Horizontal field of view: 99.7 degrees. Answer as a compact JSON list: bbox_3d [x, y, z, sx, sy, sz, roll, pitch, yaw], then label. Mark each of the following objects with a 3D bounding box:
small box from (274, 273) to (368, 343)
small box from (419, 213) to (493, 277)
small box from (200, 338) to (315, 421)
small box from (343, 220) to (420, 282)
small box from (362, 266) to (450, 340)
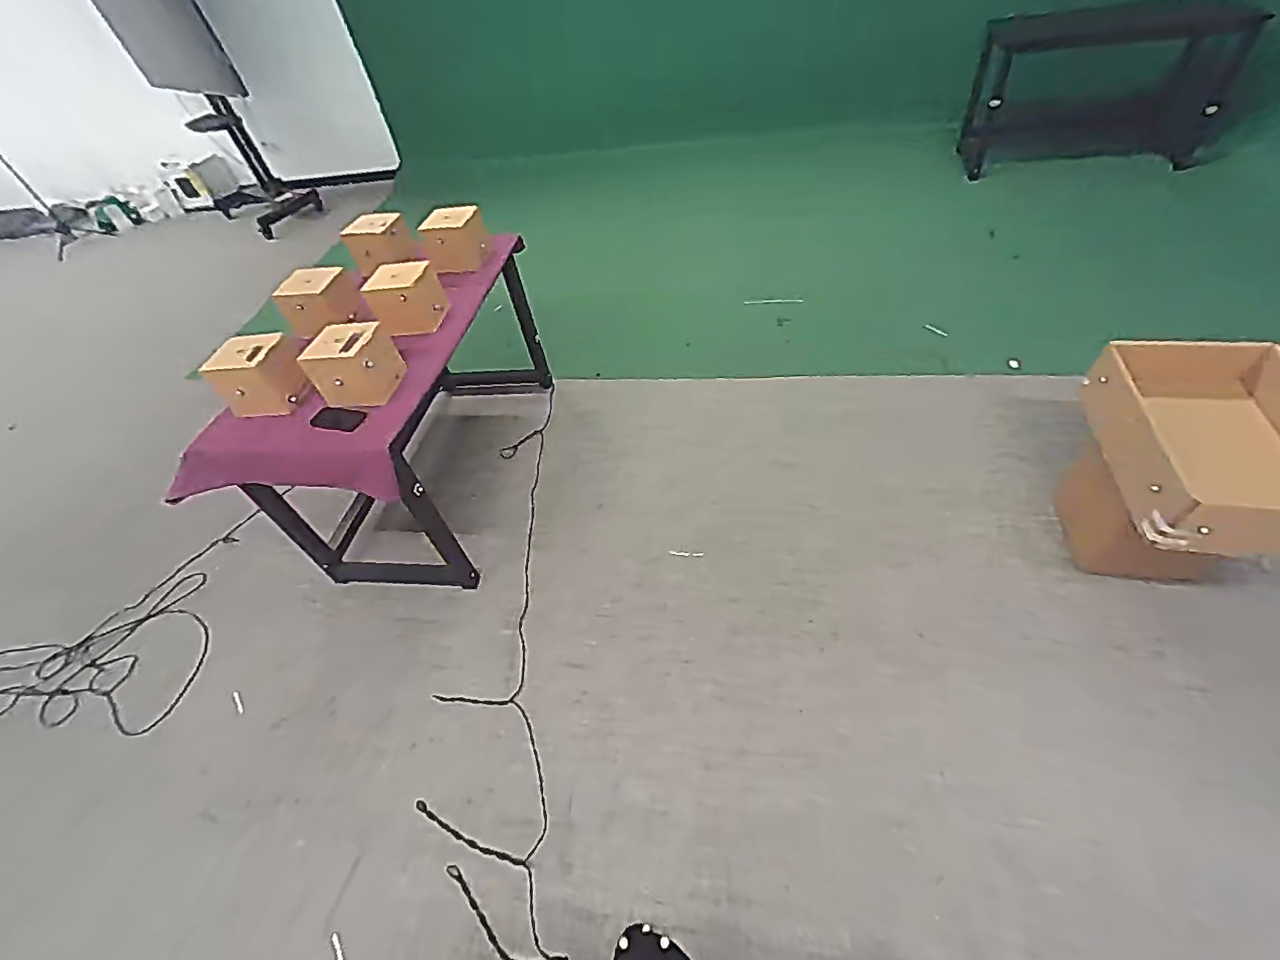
[{"bbox_3d":[-1.062,-0.572,1.814,0.179,0.176,0.168,1,49,10],"label":"small box"},{"bbox_3d":[-0.677,-0.869,2.009,0.179,0.176,0.168,2,50,13],"label":"small box"},{"bbox_3d":[-1.084,-0.285,1.553,0.179,0.176,0.168,-3,47,9],"label":"small box"},{"bbox_3d":[-0.986,-0.878,2.079,0.179,0.176,0.168,2,49,13],"label":"small box"},{"bbox_3d":[-0.750,-0.569,1.754,0.179,0.176,0.168,-1,47,10],"label":"small box"}]
